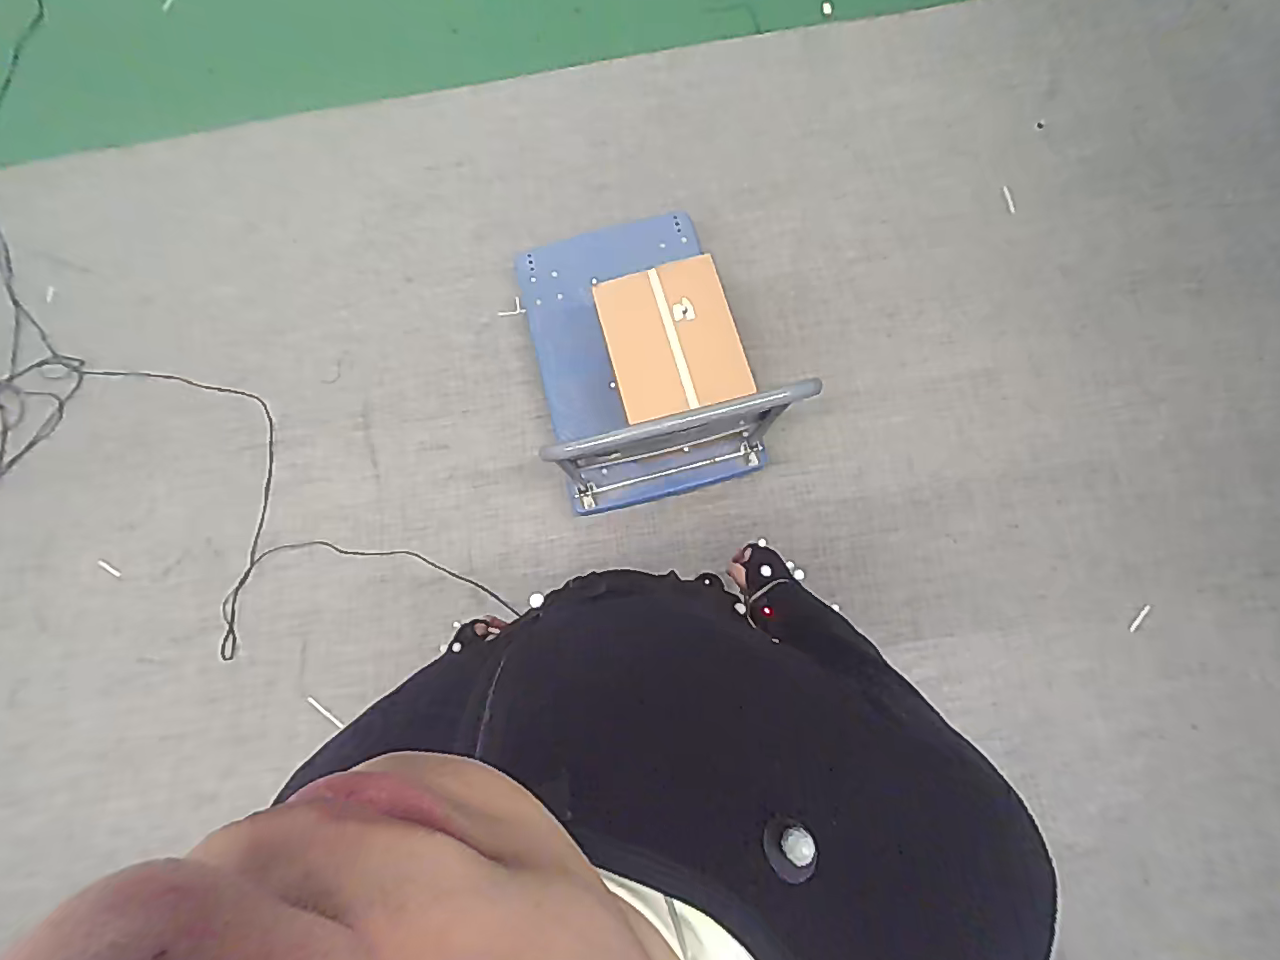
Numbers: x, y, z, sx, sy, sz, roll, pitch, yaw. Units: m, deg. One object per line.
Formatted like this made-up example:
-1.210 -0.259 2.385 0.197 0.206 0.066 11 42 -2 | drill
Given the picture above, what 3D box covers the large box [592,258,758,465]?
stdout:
0.086 -0.297 1.448 0.320 0.320 0.408 -15 77 -2 | large box
